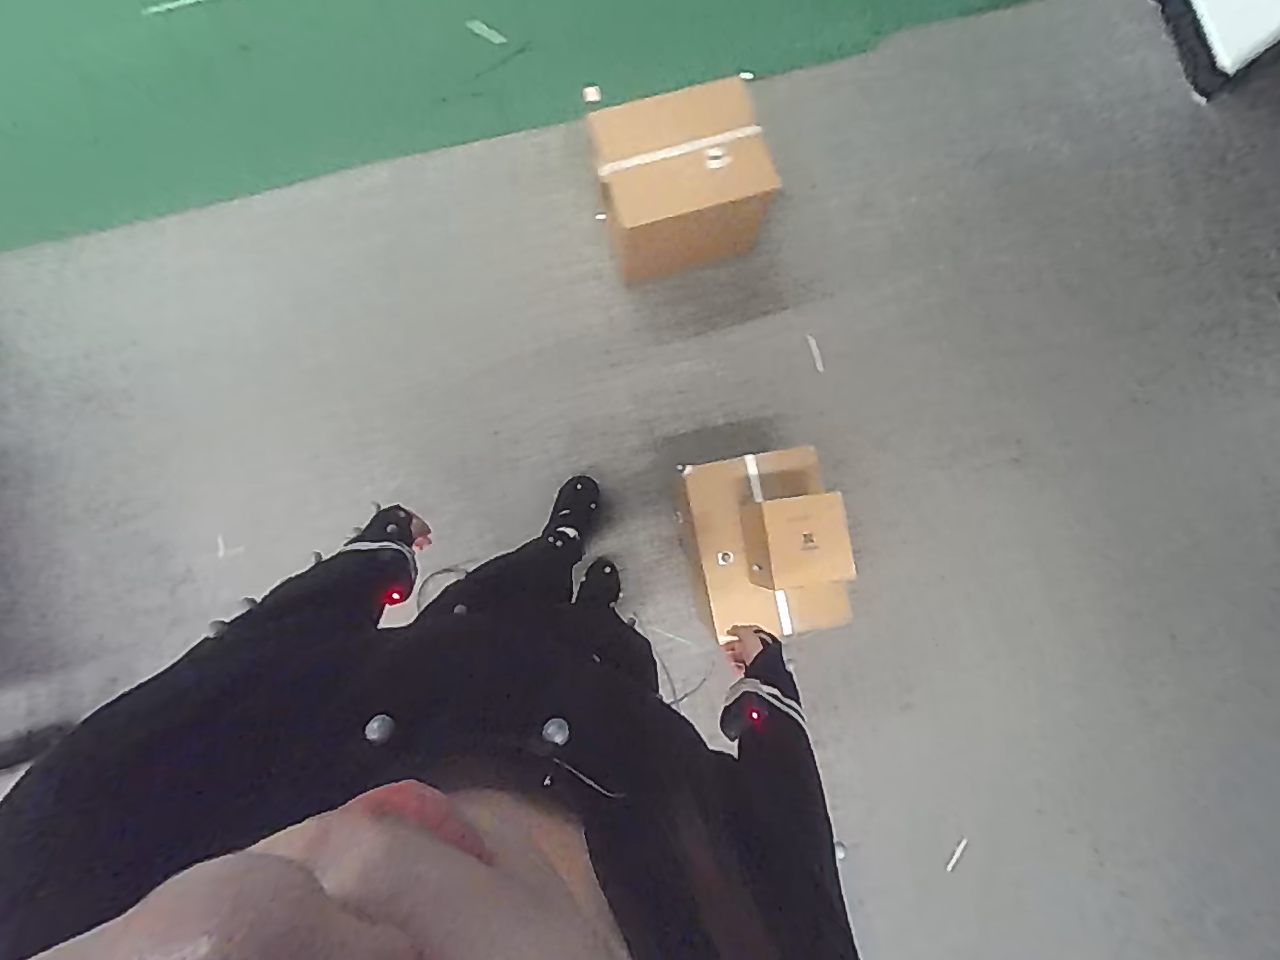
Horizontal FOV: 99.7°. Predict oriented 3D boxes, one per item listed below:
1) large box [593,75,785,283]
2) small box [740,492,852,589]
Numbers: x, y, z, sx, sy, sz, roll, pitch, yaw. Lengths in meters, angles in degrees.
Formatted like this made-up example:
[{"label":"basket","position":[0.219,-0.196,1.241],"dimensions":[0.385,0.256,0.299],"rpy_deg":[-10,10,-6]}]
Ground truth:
[{"label":"large box","position":[0.111,-0.782,1.448],"dimensions":[0.408,0.320,0.320],"rpy_deg":[-16,85,-5]},{"label":"small box","position":[0.315,0.123,1.123],"dimensions":[0.168,0.176,0.179],"rpy_deg":[-6,85,-6]}]
